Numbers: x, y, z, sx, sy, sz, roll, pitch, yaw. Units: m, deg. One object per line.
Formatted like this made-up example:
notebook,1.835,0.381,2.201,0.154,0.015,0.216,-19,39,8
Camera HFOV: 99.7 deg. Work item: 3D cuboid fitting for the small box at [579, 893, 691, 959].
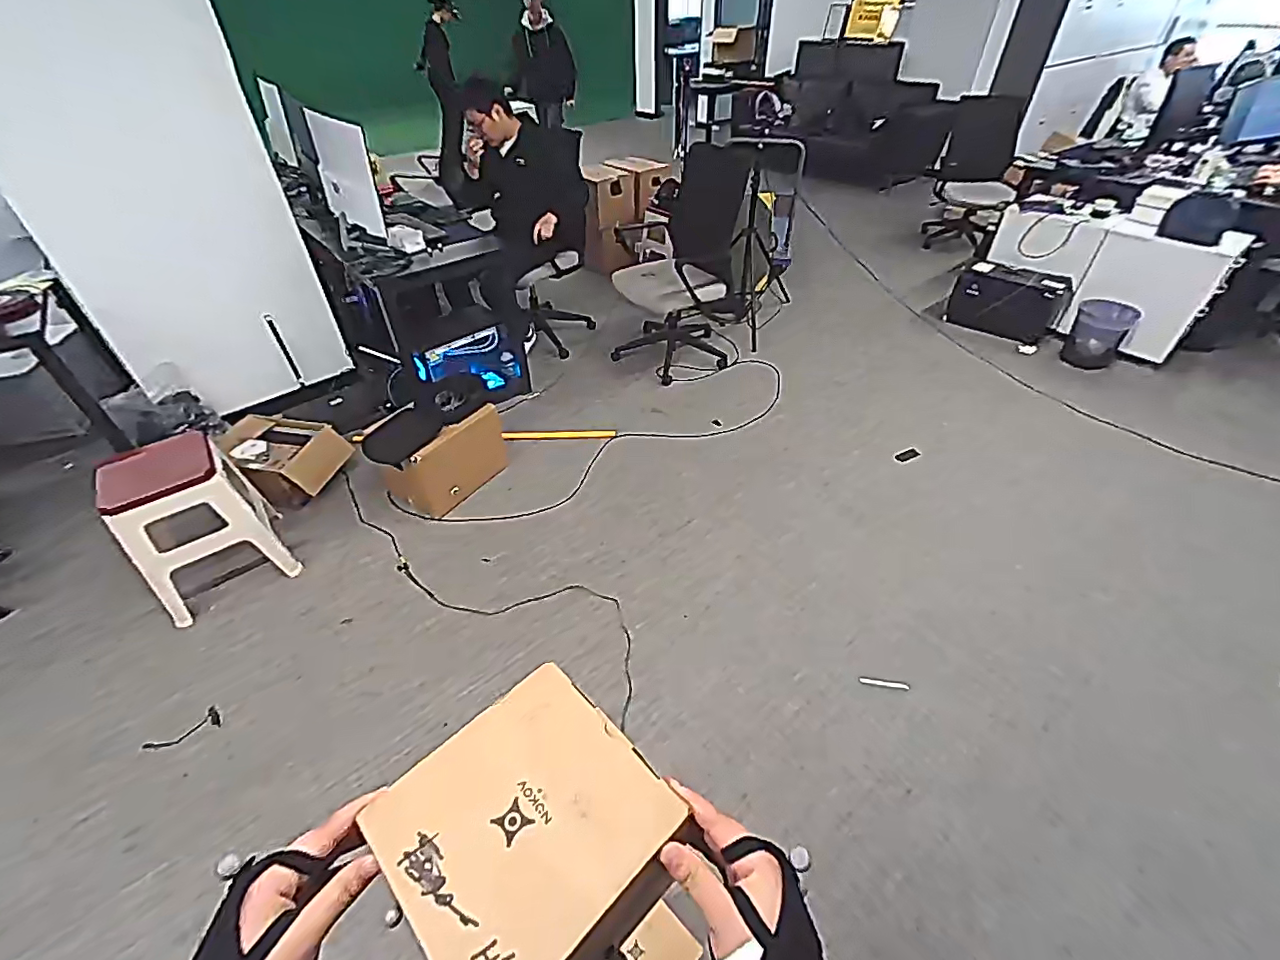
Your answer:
small box,-0.011,0.979,1.070,0.179,0.176,0.168,-33,51,-30
